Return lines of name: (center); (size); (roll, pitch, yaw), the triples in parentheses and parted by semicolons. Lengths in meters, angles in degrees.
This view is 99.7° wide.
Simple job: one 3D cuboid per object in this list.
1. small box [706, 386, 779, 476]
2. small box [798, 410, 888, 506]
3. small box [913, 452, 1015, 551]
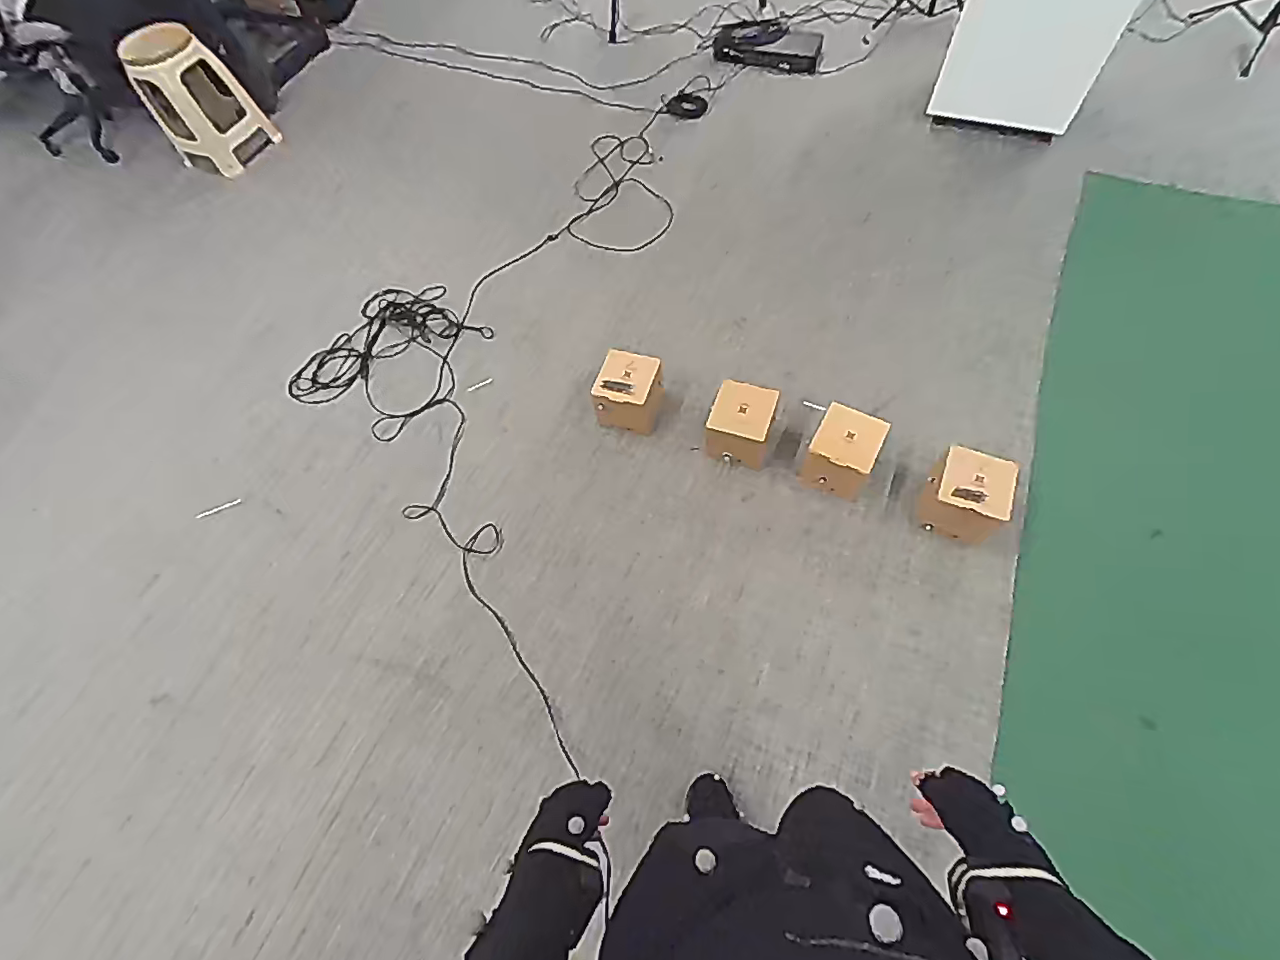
small box: (0.293, -0.140, 1.571); (0.168, 0.176, 0.179); (16, 66, 15)
small box: (0.558, -0.058, 1.505); (0.168, 0.176, 0.179); (25, 68, 17)
small box: (0.840, 0.061, 1.417); (0.168, 0.176, 0.179); (21, 65, 15)
